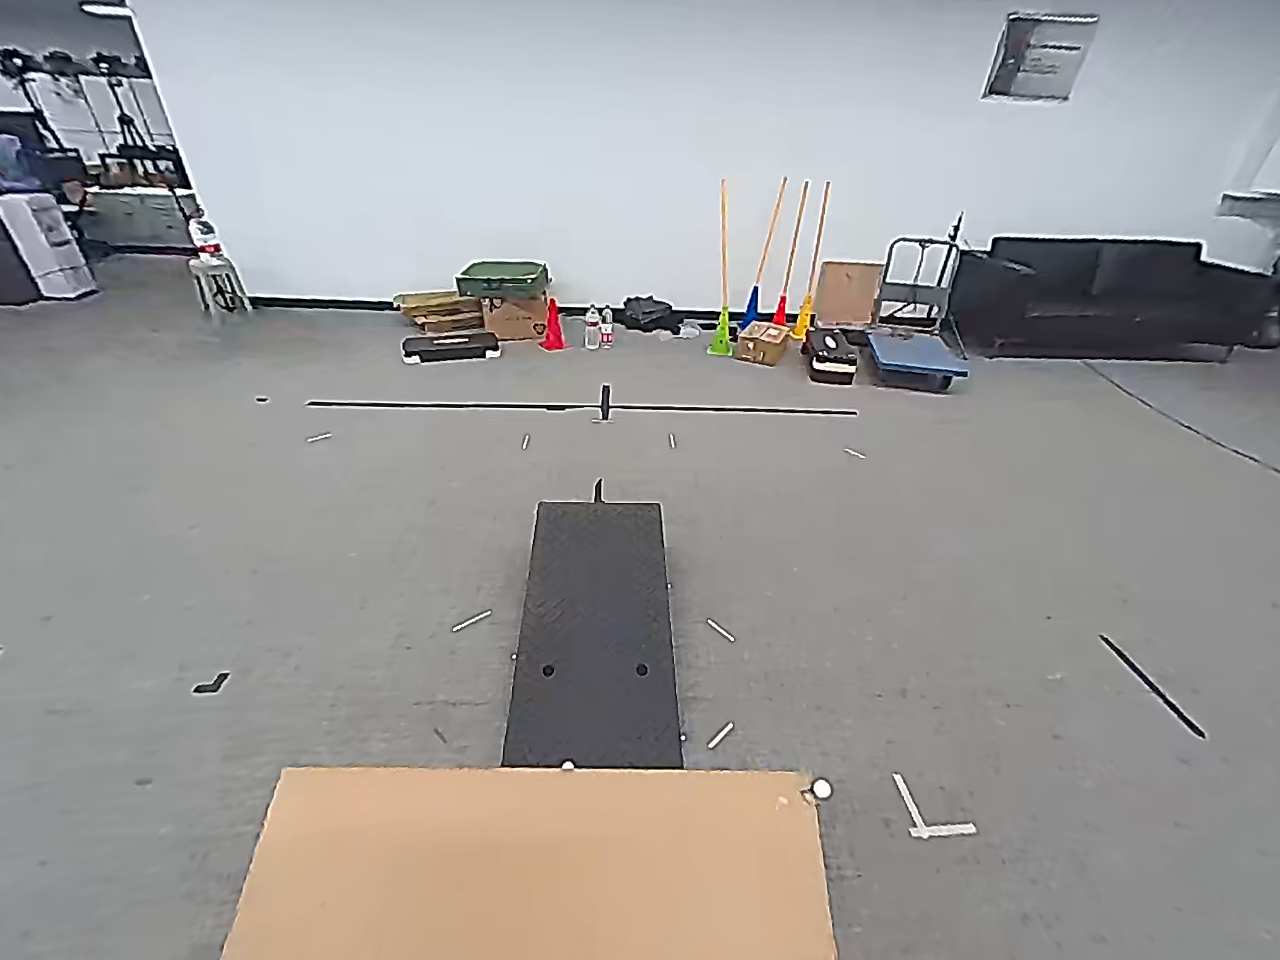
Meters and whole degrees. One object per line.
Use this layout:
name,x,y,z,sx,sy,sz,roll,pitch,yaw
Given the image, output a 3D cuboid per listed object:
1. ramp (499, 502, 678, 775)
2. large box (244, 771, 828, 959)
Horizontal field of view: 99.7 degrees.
ramp,-0.152,0.445,1.811,0.509,0.206,0.991,1,34,-6
large box,-0.076,0.442,0.471,0.408,0.320,0.320,2,59,-2
